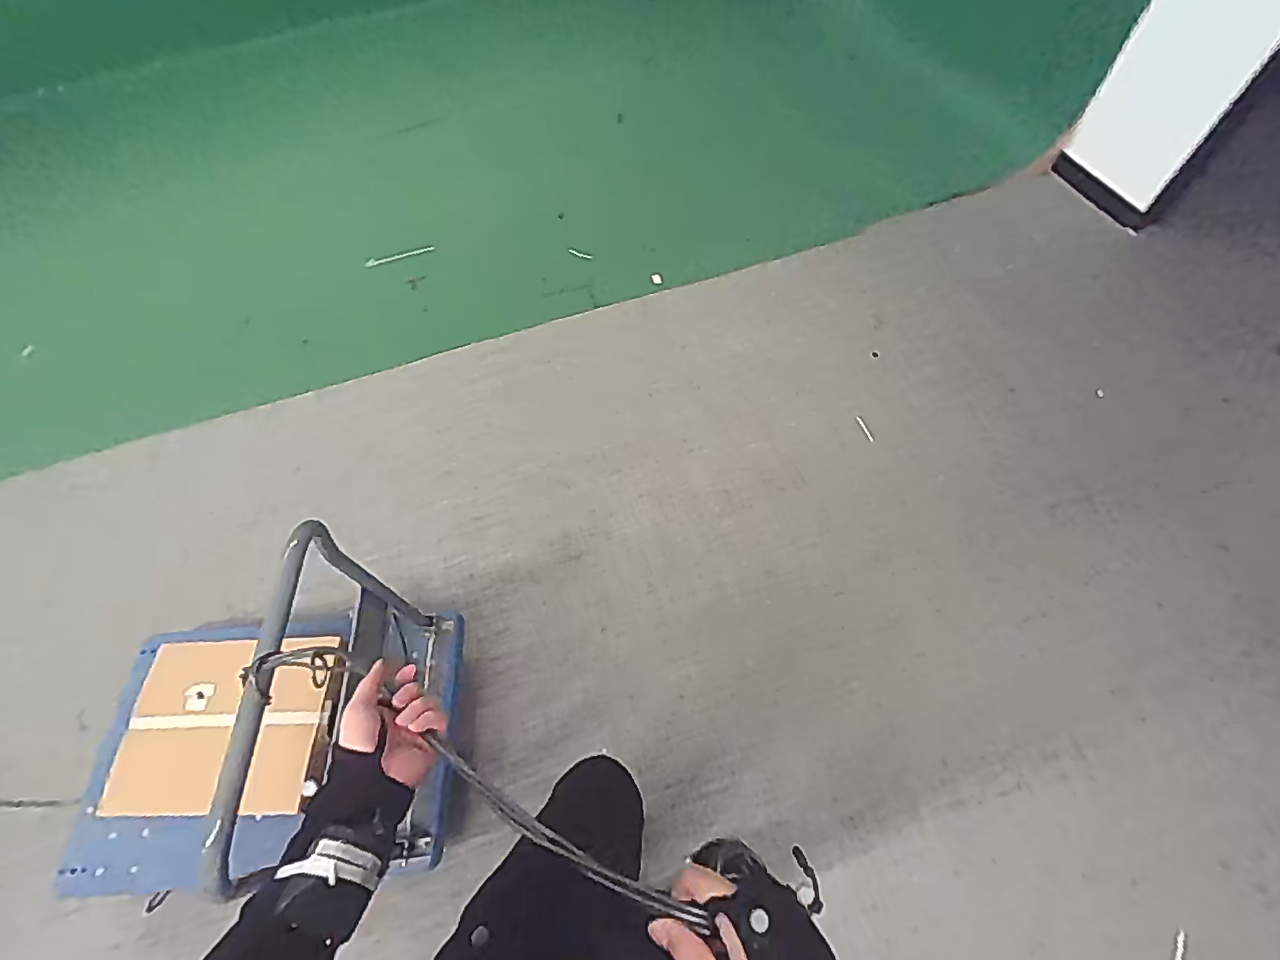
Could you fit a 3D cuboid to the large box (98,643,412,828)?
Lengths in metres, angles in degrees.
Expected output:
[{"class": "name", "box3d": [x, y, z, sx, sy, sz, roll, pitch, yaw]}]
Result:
[{"class": "large box", "box3d": [-0.768, 0.547, 1.157, 0.408, 0.320, 0.320, -4, 60, 6]}]
